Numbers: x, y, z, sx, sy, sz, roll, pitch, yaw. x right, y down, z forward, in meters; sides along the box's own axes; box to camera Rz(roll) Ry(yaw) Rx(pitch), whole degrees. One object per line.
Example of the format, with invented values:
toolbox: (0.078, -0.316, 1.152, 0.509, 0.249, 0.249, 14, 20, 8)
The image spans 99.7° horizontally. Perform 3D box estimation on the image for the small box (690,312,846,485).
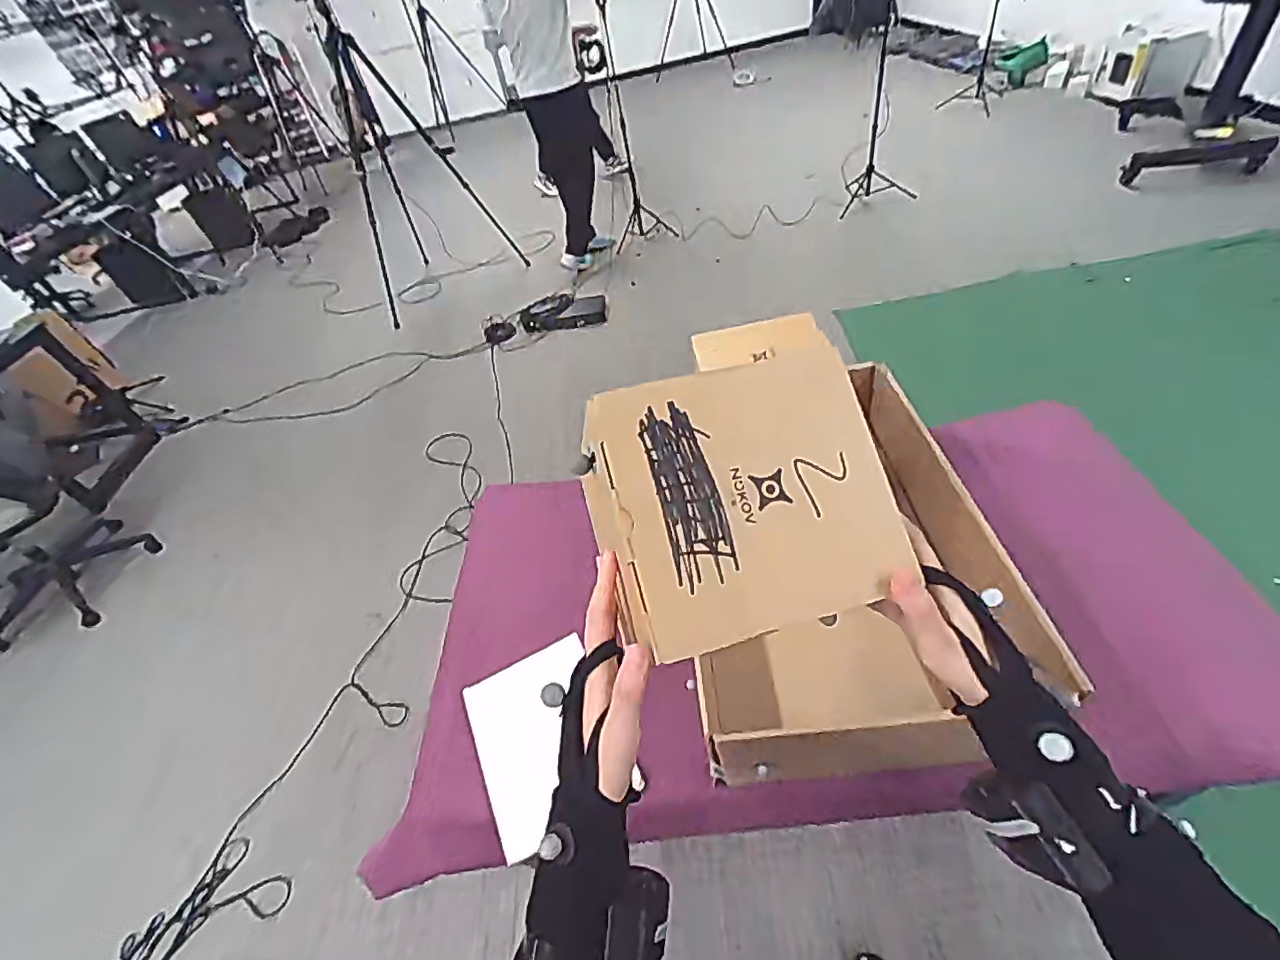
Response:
small box: (0.178, -0.111, 0.777, 0.179, 0.176, 0.168, -11, 46, 4)

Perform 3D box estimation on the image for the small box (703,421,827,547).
small box: (0.202, -0.003, 0.895, 0.168, 0.176, 0.179, -9, 47, 6)
